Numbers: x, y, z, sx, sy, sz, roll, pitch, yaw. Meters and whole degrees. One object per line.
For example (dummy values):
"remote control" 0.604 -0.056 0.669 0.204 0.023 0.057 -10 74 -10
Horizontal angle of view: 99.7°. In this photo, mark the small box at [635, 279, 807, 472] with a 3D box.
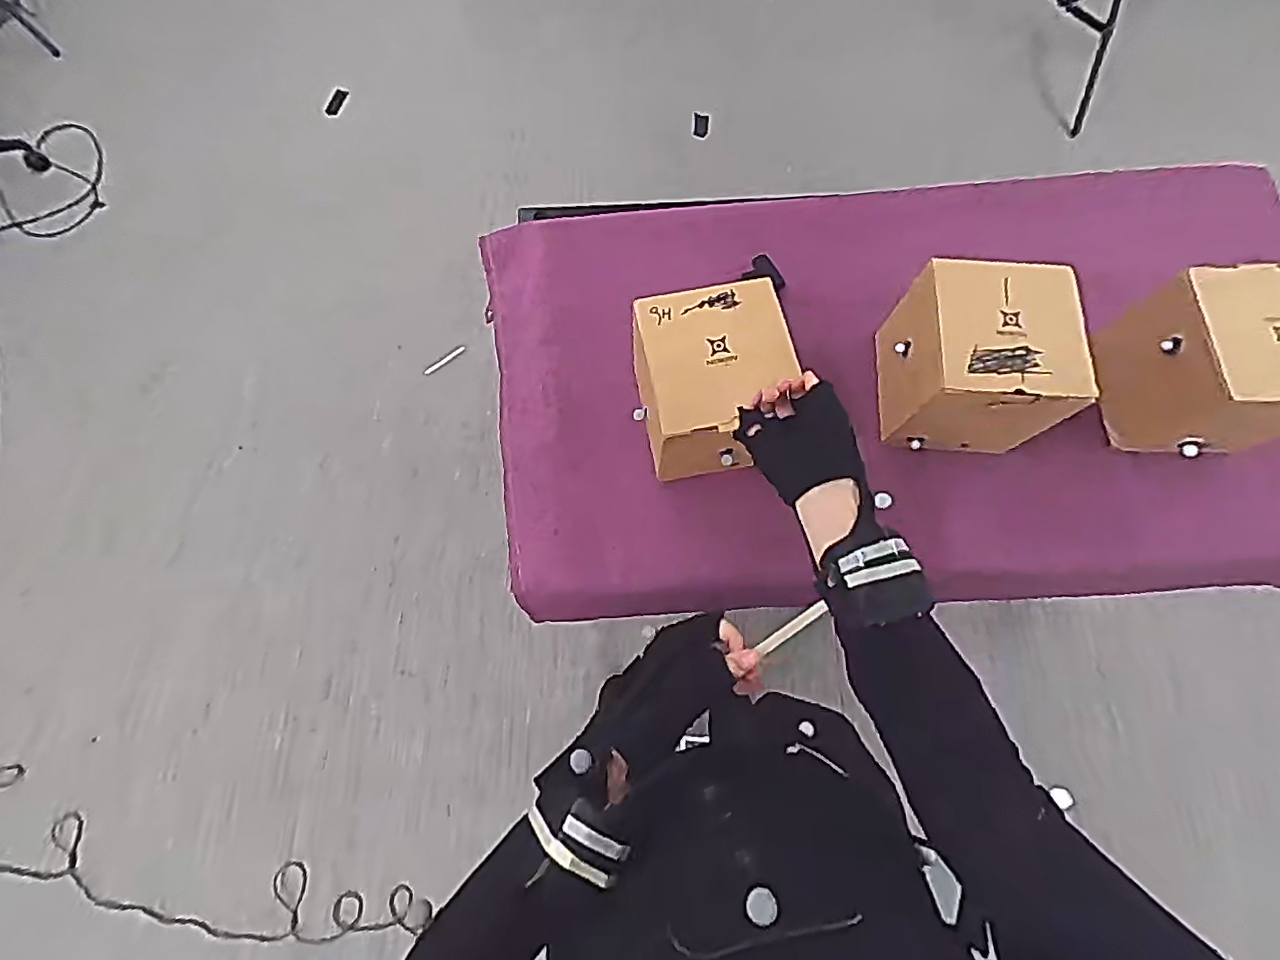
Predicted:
"small box" 0.089 -0.118 0.682 0.168 0.176 0.179 -10 73 -3

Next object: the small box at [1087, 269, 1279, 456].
"small box" 0.720 -0.141 0.686 0.168 0.176 0.179 0 73 2

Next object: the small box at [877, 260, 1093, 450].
"small box" 0.418 -0.148 0.689 0.168 0.176 0.179 5 72 2
